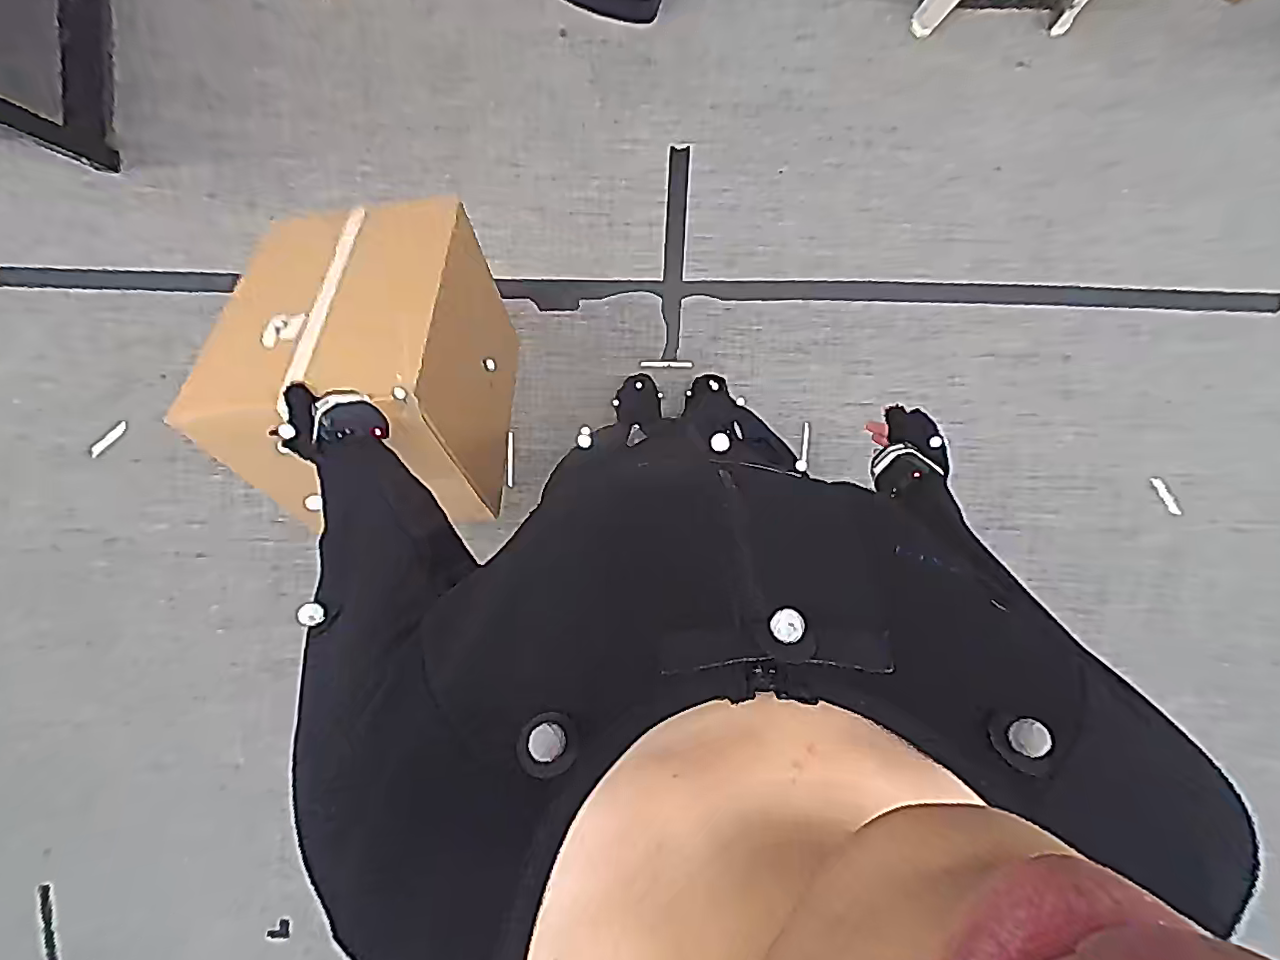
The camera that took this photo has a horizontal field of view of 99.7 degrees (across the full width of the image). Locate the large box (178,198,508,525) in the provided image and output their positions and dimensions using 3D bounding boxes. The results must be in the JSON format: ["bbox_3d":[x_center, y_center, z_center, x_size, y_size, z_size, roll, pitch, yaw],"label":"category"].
[{"bbox_3d":[-0.416,-0.181,0.879,0.320,0.320,0.408,-7,60,4],"label":"large box"}]
